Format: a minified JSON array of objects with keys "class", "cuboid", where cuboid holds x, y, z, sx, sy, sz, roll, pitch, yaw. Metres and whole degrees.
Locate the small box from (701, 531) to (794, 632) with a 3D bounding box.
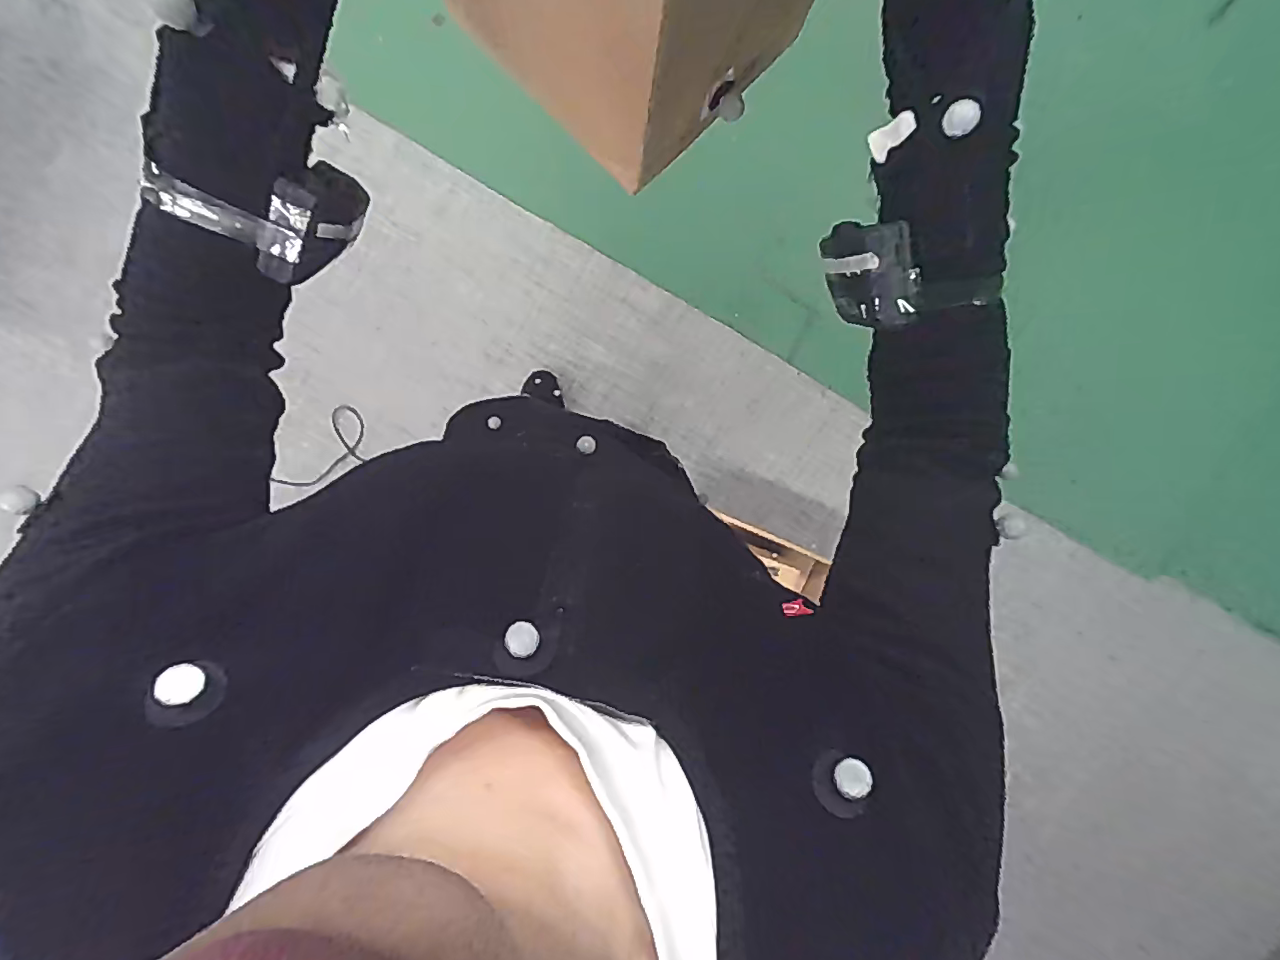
[{"class":"small box","cuboid":[0.260,0.249,1.365,0.168,0.176,0.179,21,98,-4]}]
